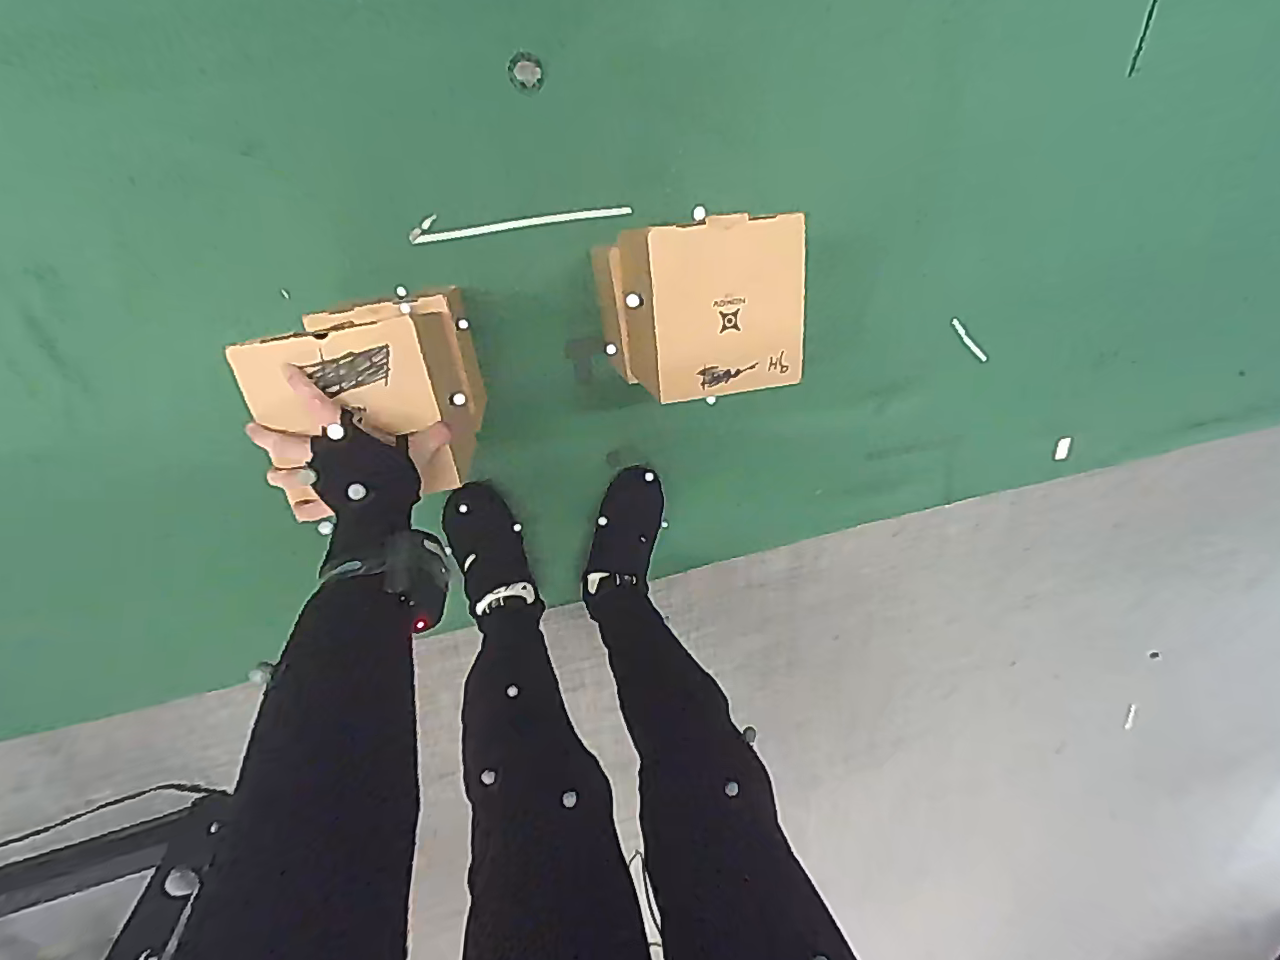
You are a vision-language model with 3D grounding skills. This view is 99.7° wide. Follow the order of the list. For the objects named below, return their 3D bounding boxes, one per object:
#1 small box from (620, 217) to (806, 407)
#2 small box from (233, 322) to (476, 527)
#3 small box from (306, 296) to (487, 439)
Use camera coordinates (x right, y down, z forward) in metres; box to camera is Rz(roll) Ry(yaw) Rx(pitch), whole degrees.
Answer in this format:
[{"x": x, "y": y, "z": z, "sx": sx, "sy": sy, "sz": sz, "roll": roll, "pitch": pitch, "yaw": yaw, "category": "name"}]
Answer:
[{"x": 0.076, "y": -0.197, "z": 0.629, "sx": 0.168, "sy": 0.176, "sz": 0.179, "roll": -10, "pitch": 113, "yaw": -9, "category": "small box"}, {"x": -0.288, "y": -0.072, "z": 0.594, "sx": 0.168, "sy": 0.176, "sz": 0.179, "roll": -12, "pitch": 109, "yaw": -6, "category": "small box"}, {"x": -0.315, "y": -0.149, "z": 0.745, "sx": 0.168, "sy": 0.176, "sz": 0.179, "roll": -12, "pitch": 113, "yaw": -7, "category": "small box"}]
